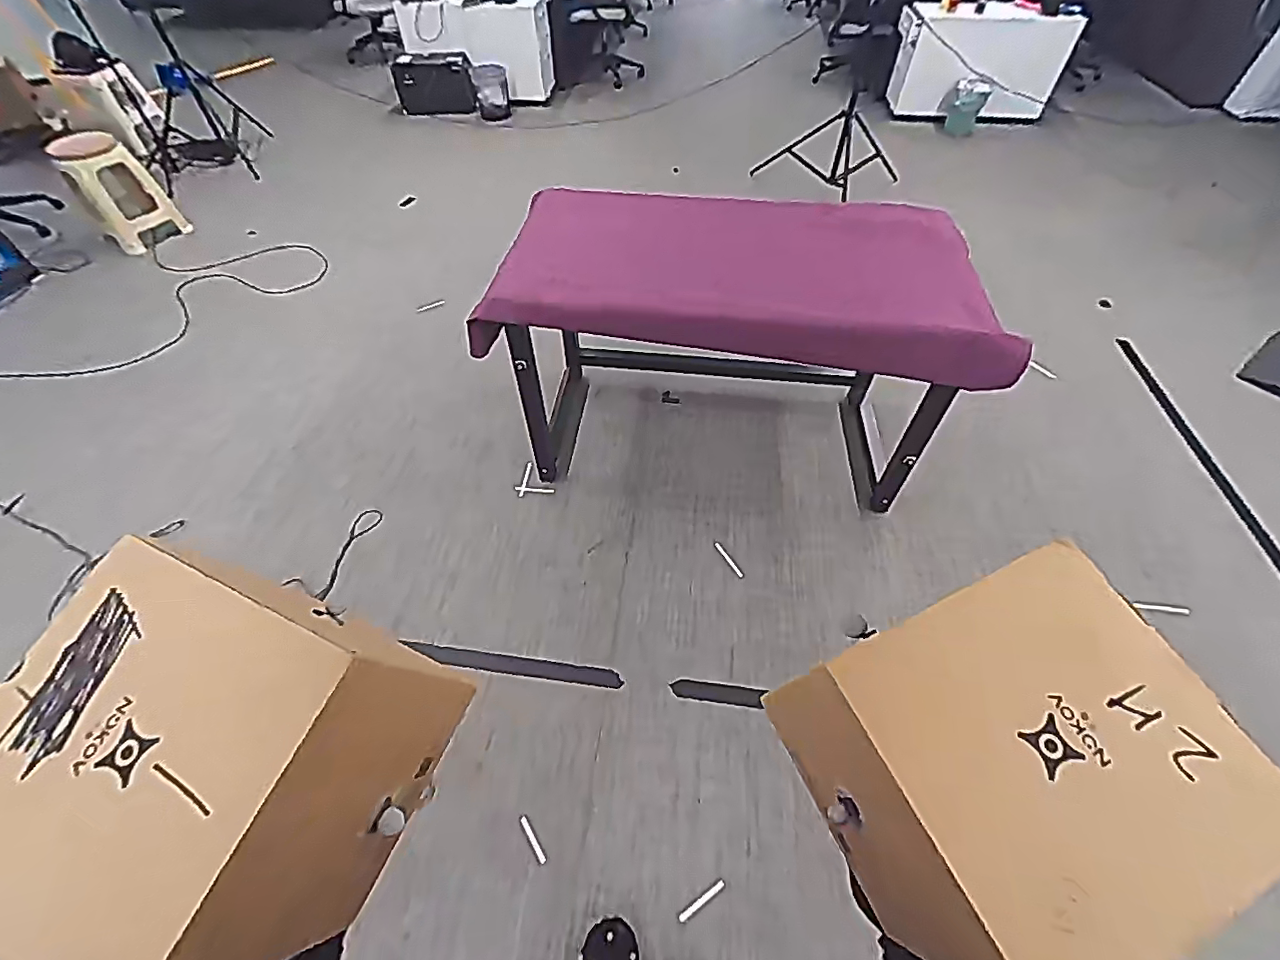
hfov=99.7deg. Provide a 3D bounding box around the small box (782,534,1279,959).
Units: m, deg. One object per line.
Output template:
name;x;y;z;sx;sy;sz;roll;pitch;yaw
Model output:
small box;0.209;0.166;0.341;0.179;0.176;0.168;-22;65;-12

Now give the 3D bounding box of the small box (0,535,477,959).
small box;-0.238;0.161;0.337;0.179;0.176;0.168;20;68;14
